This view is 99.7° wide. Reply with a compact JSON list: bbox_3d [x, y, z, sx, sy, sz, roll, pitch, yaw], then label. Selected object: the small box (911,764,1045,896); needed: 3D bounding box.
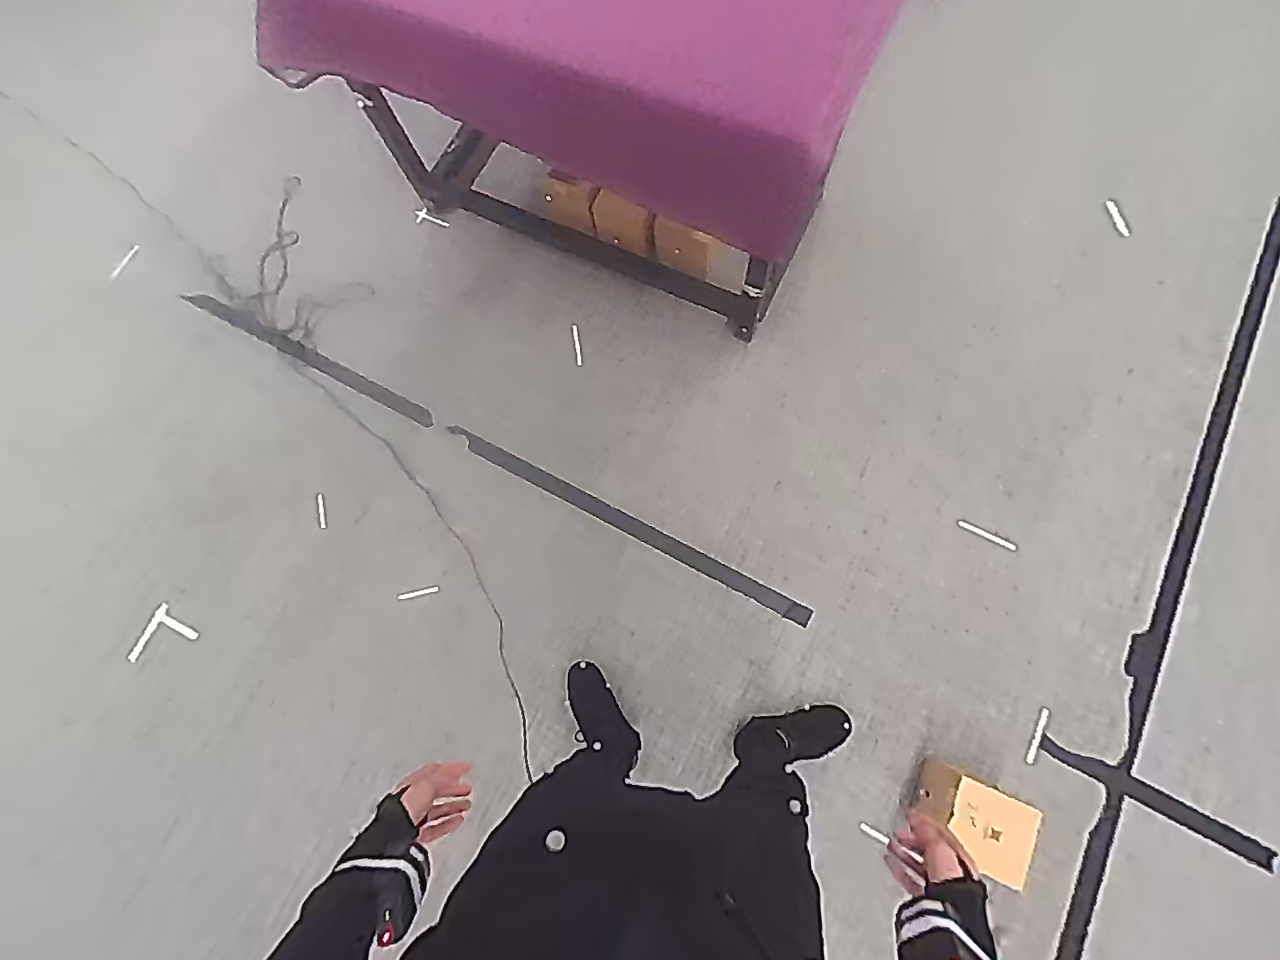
[{"bbox_3d":[0.746,0.767,1.210,0.179,0.176,0.168,23,79,11],"label":"small box"}]
